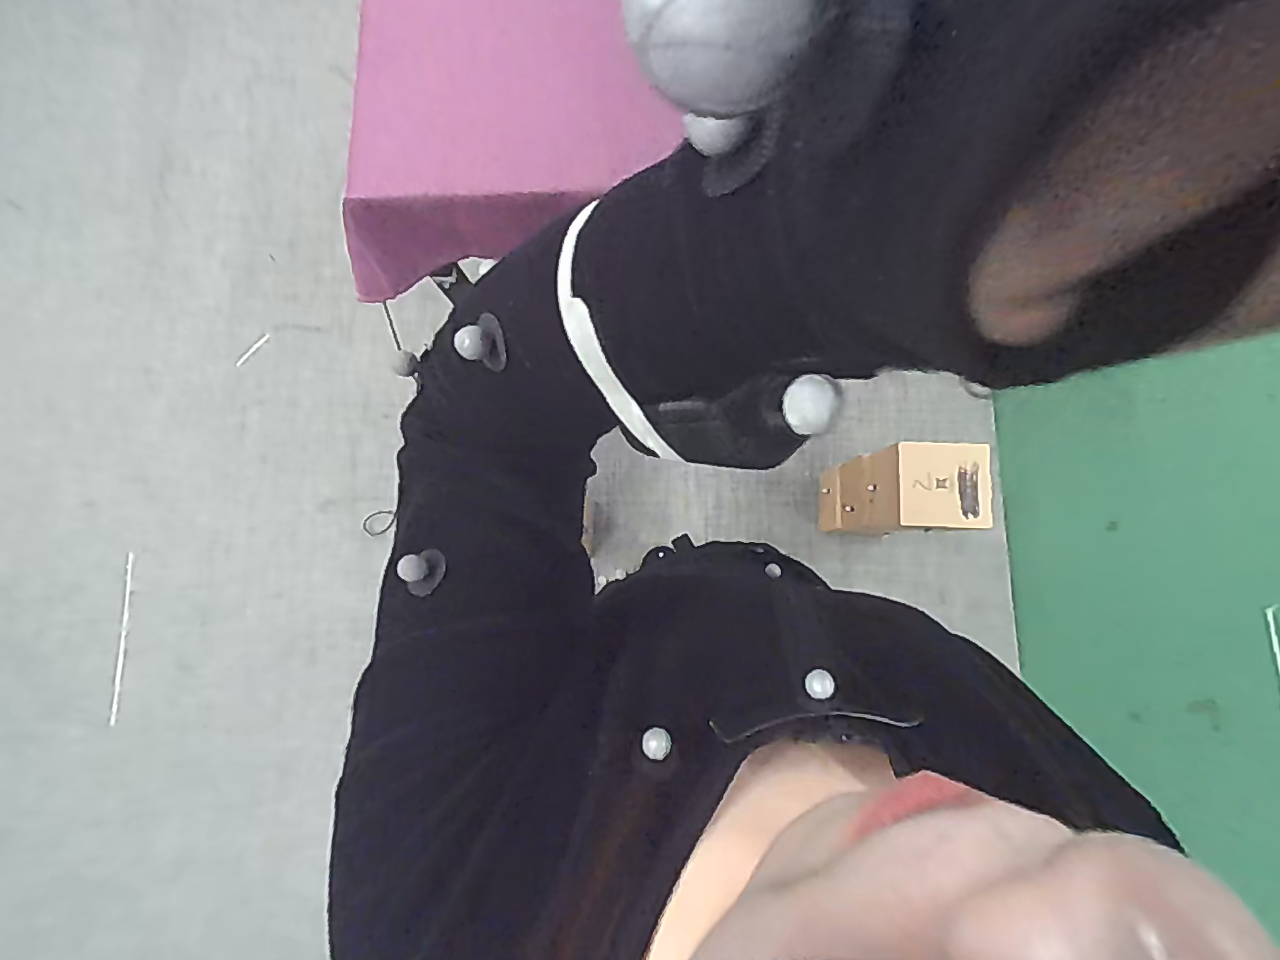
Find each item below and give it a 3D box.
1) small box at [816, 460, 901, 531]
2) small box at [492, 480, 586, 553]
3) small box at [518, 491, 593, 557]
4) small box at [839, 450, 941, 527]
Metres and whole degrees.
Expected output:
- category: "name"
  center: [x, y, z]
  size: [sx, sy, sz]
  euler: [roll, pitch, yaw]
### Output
- category: "small box"
  center: [0.580, 0.048, 1.446]
  size: [0.179, 0.176, 0.168]
  euler: [4, 82, 2]
- category: "small box"
  center: [-0.237, 0.085, 1.309]
  size: [0.179, 0.176, 0.168]
  euler: [6, 82, 3]
- category: "small box"
  center: [-0.223, 0.118, 1.470]
  size: [0.168, 0.176, 0.179]
  euler: [3, 81, 3]
- category: "small box"
  center: [0.582, 0.026, 1.285]
  size: [0.179, 0.176, 0.168]
  euler: [1, 83, 1]
